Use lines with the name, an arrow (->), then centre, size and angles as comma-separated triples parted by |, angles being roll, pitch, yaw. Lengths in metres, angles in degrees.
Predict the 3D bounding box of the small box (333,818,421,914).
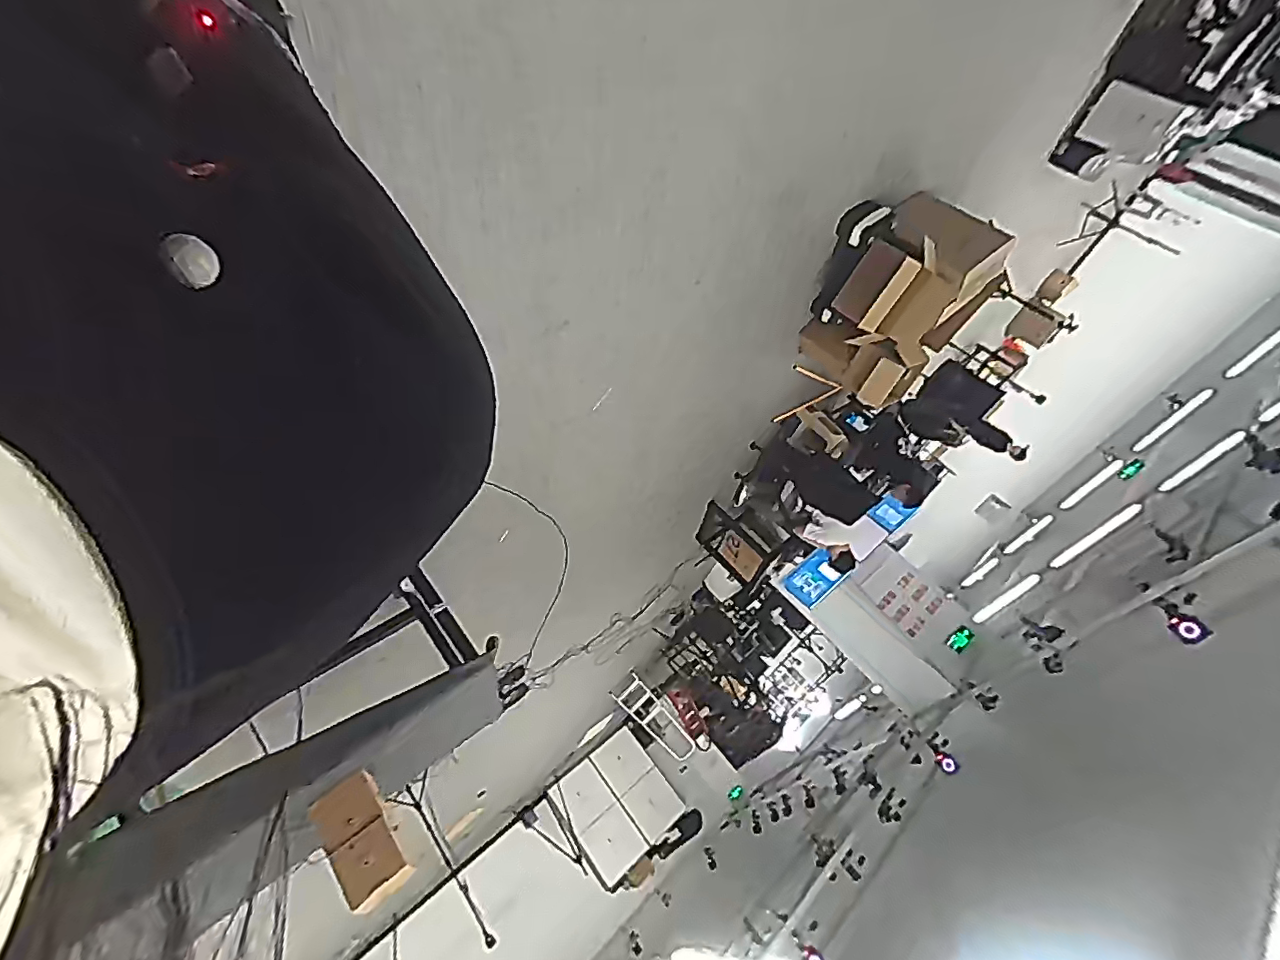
small box -> -0.794, 1.161, 1.634 | 0.168, 0.176, 0.179 | -31, 151, -30

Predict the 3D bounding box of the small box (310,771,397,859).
small box -> -0.901, 1.059, 1.705 | 0.179, 0.176, 0.168 | -29, 151, -29
